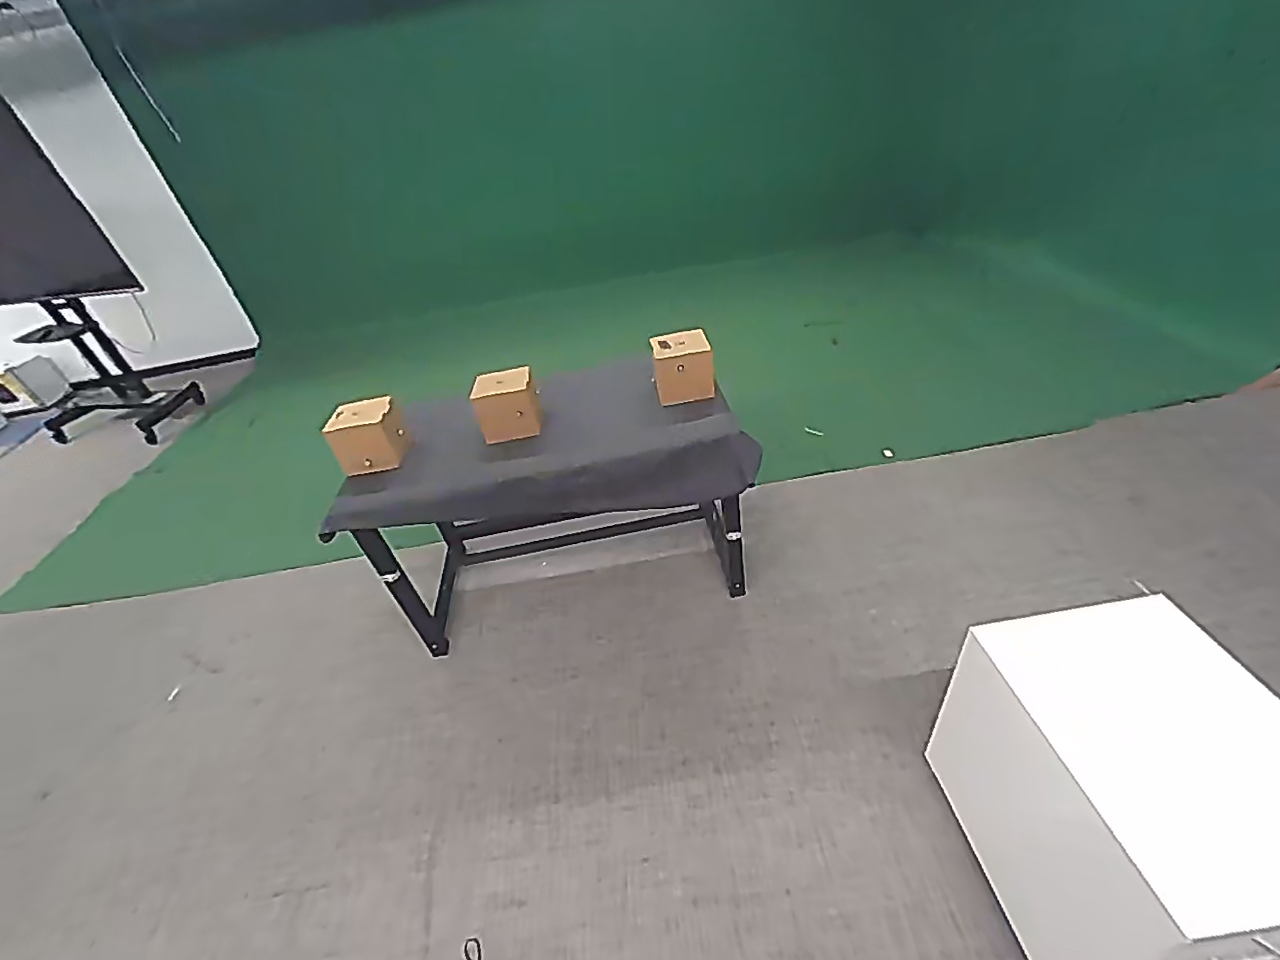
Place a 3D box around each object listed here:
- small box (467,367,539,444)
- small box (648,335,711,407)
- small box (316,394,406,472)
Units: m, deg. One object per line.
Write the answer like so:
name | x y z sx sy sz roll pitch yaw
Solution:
small box | -0.425 -0.235 1.713 0.179 0.176 0.168 -11 35 0
small box | 0.129 -0.348 1.739 0.179 0.176 0.168 -8 37 0
small box | -0.854 -0.145 1.677 0.179 0.176 0.168 -8 36 -2
